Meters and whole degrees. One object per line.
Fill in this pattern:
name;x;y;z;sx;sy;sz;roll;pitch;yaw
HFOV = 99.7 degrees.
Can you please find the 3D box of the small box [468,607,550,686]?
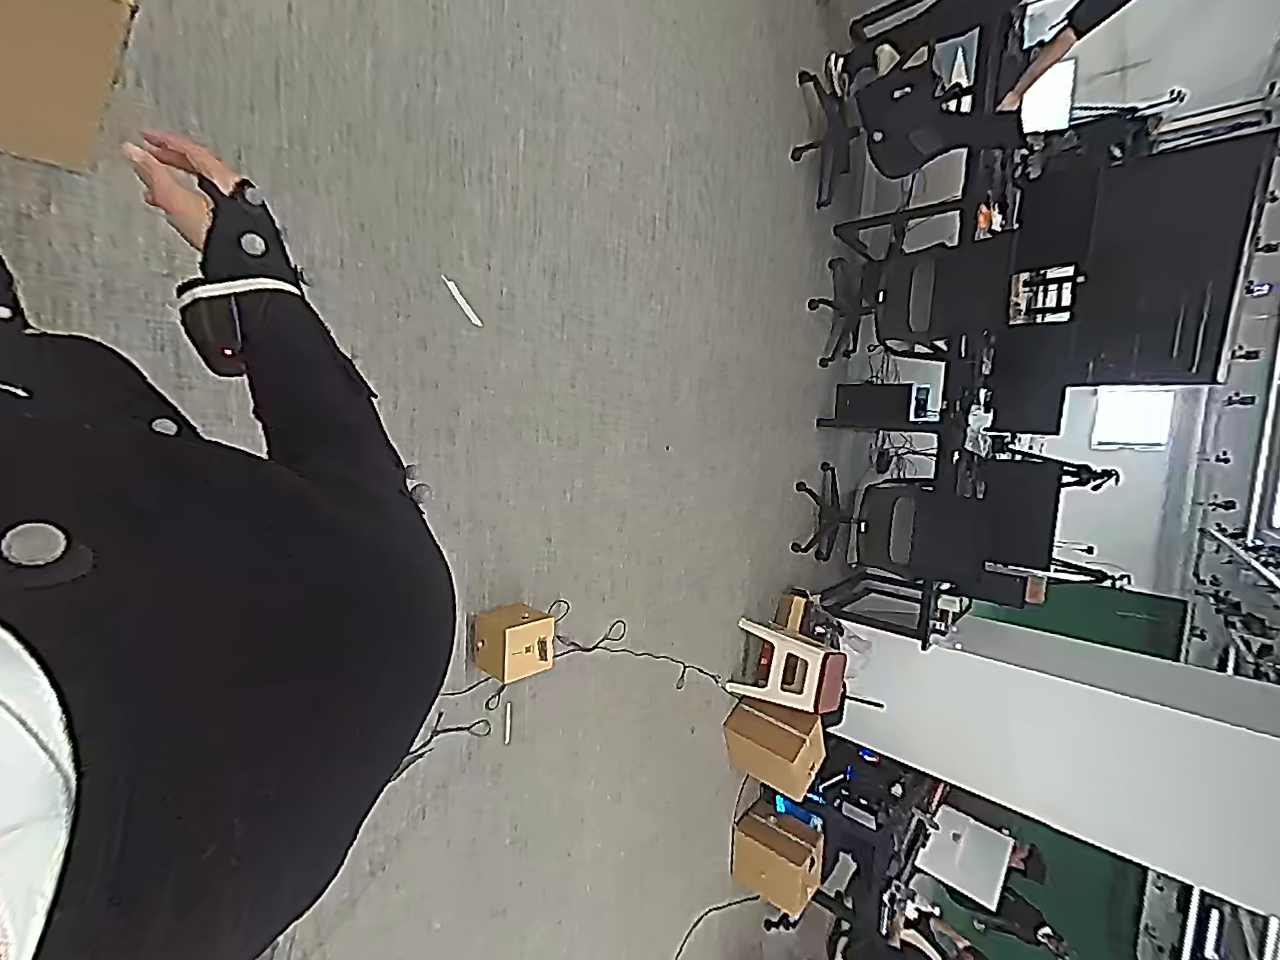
small box;-0.398;0.498;1.646;0.179;0.176;0.168;-3;97;-48
